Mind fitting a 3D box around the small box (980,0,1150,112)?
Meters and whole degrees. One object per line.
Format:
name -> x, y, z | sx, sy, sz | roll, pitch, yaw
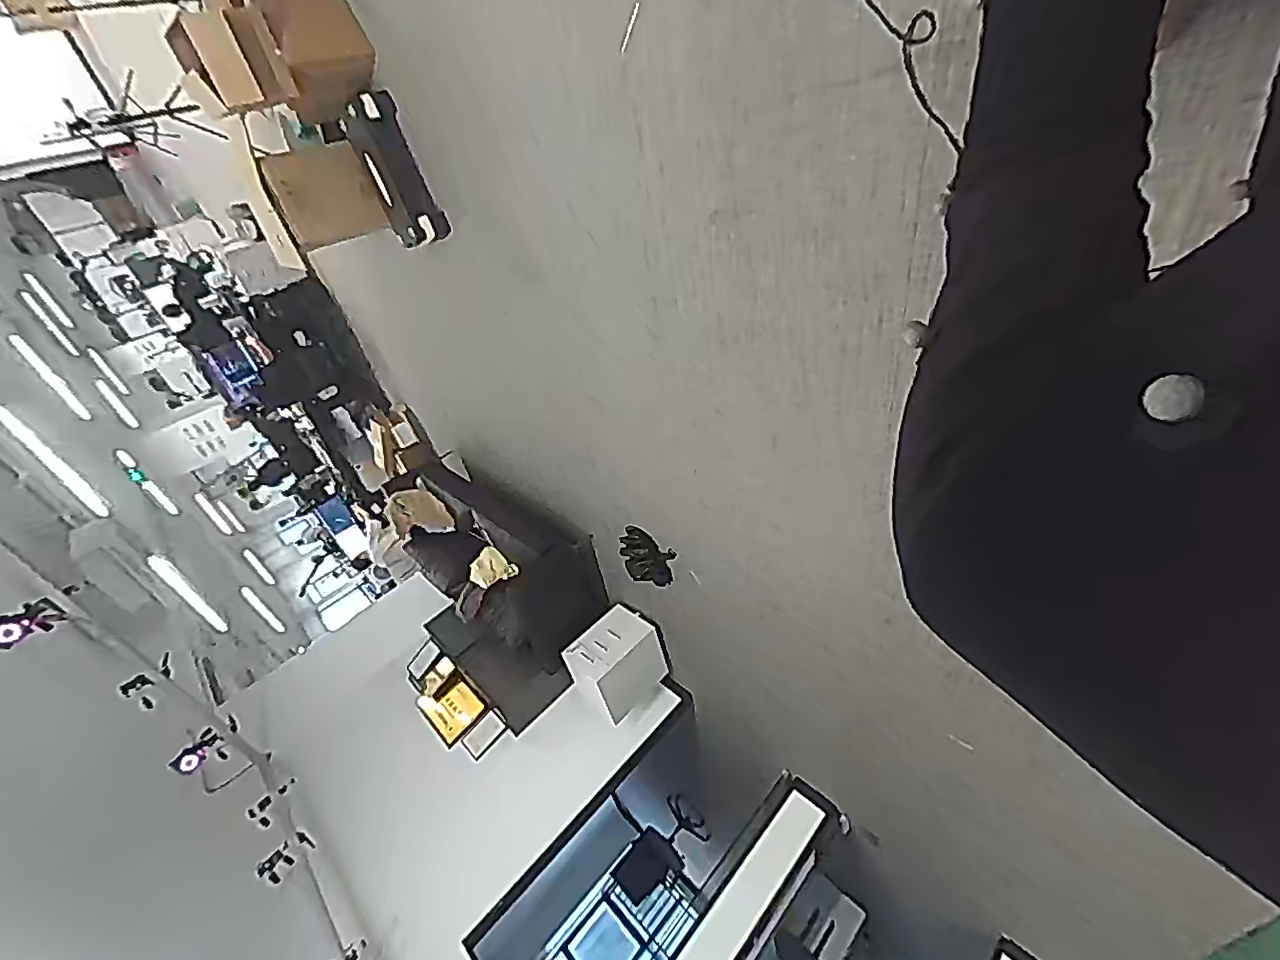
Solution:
small box -> 0.622, -0.678, 0.791 | 0.168, 0.176, 0.179 | 16, 134, 48
